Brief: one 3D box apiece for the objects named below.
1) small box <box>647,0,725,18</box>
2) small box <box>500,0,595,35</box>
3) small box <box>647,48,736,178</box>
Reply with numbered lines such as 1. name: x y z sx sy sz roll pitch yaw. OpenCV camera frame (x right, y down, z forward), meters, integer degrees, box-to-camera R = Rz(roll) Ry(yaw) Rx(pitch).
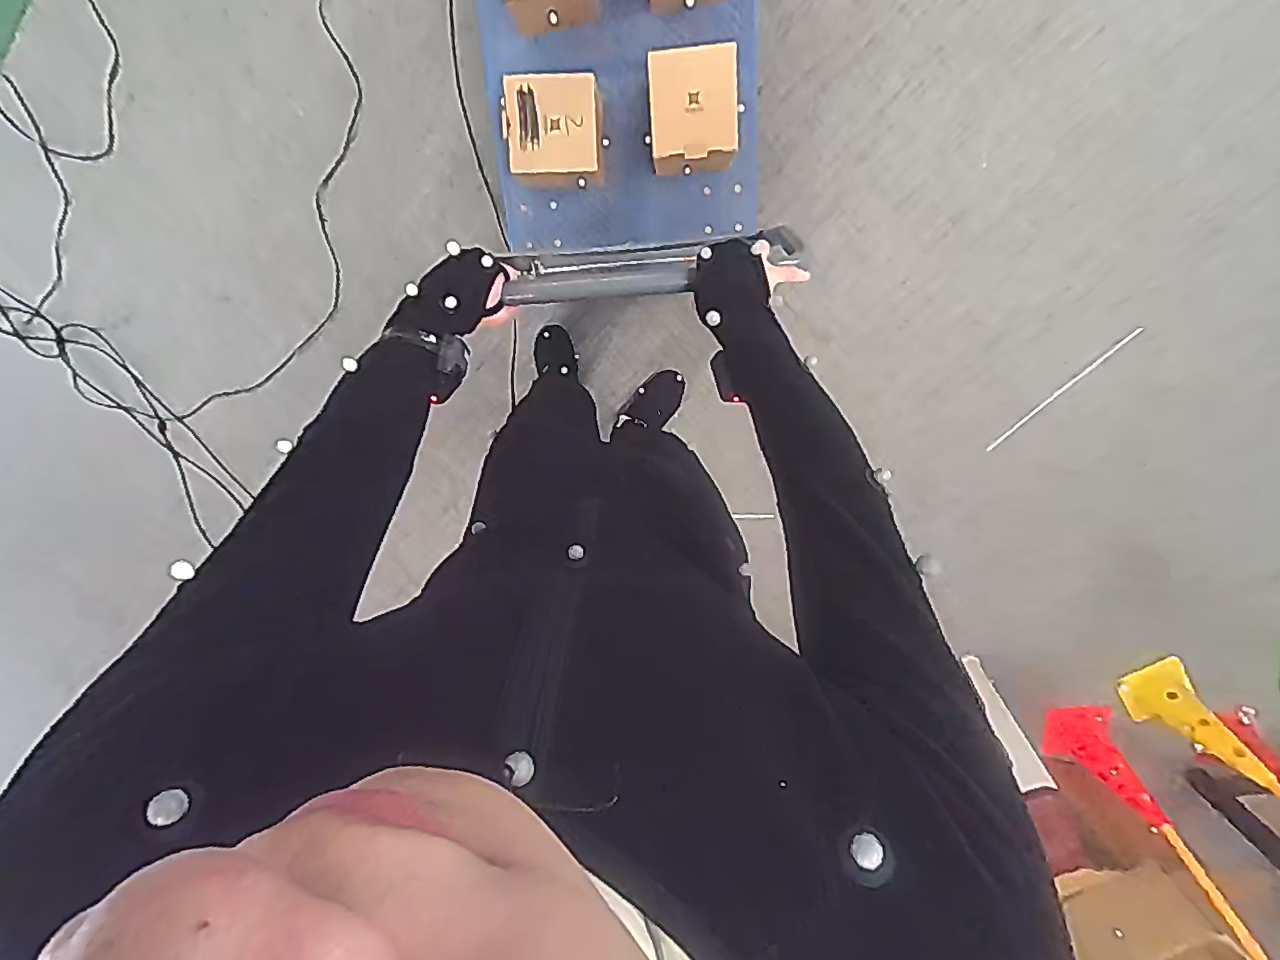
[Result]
1. small box: 0.083 -1.013 1.000 0.168 0.176 0.179 -8 109 5
2. small box: -0.185 -0.982 1.019 0.168 0.176 0.179 -9 108 4
3. small box: 0.101 -0.733 1.097 0.168 0.176 0.179 -4 109 3
